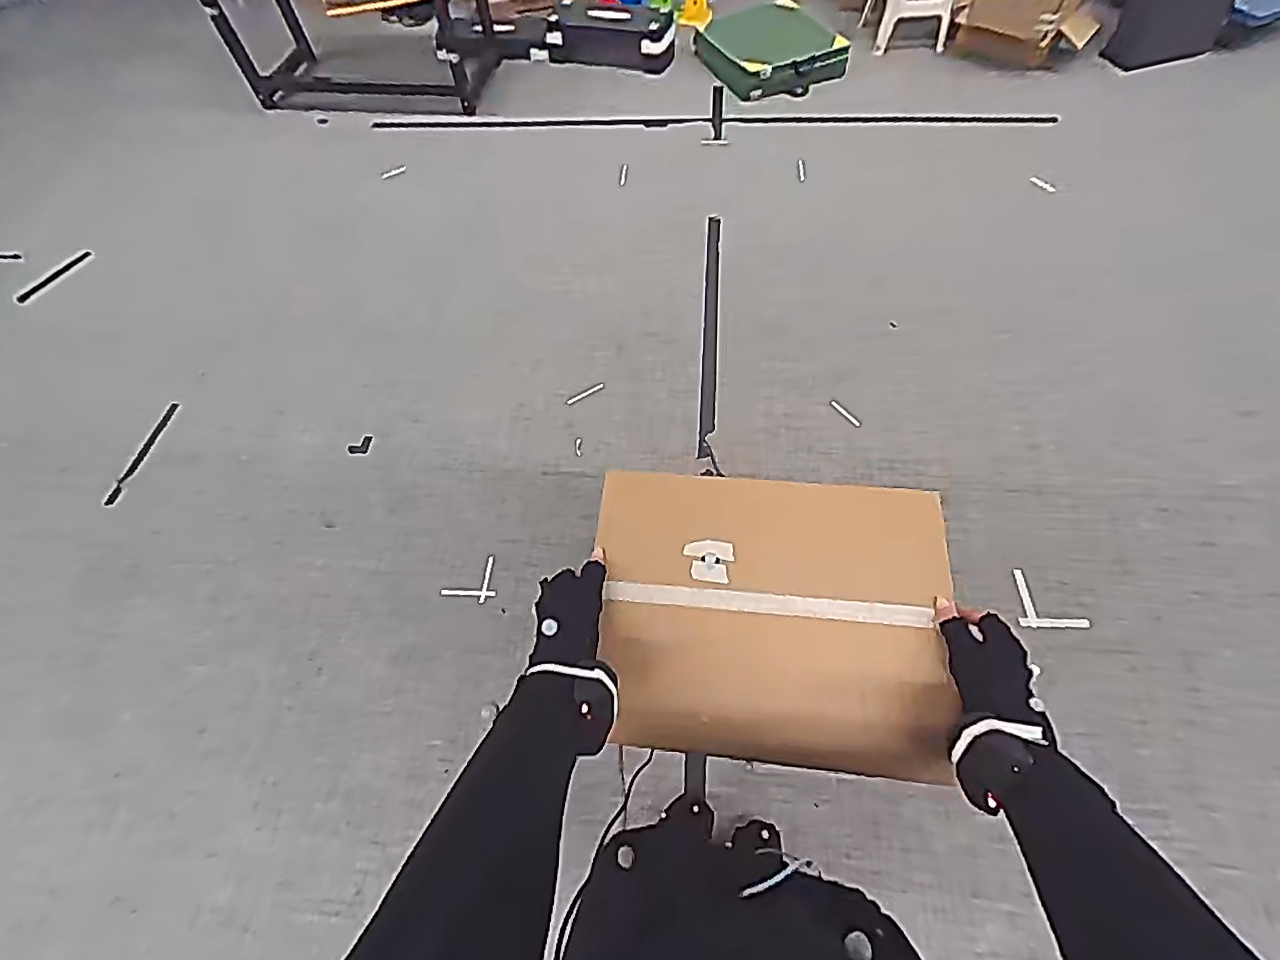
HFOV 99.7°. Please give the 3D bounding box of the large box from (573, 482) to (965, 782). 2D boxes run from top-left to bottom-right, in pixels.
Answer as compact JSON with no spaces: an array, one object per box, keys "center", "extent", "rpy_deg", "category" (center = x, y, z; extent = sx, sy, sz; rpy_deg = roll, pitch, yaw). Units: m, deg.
[{"center":[0.156,0.212,0.751],"extent":[0.408,0.320,0.320],"rpy_deg":[3,64,8],"category":"large box"}]
